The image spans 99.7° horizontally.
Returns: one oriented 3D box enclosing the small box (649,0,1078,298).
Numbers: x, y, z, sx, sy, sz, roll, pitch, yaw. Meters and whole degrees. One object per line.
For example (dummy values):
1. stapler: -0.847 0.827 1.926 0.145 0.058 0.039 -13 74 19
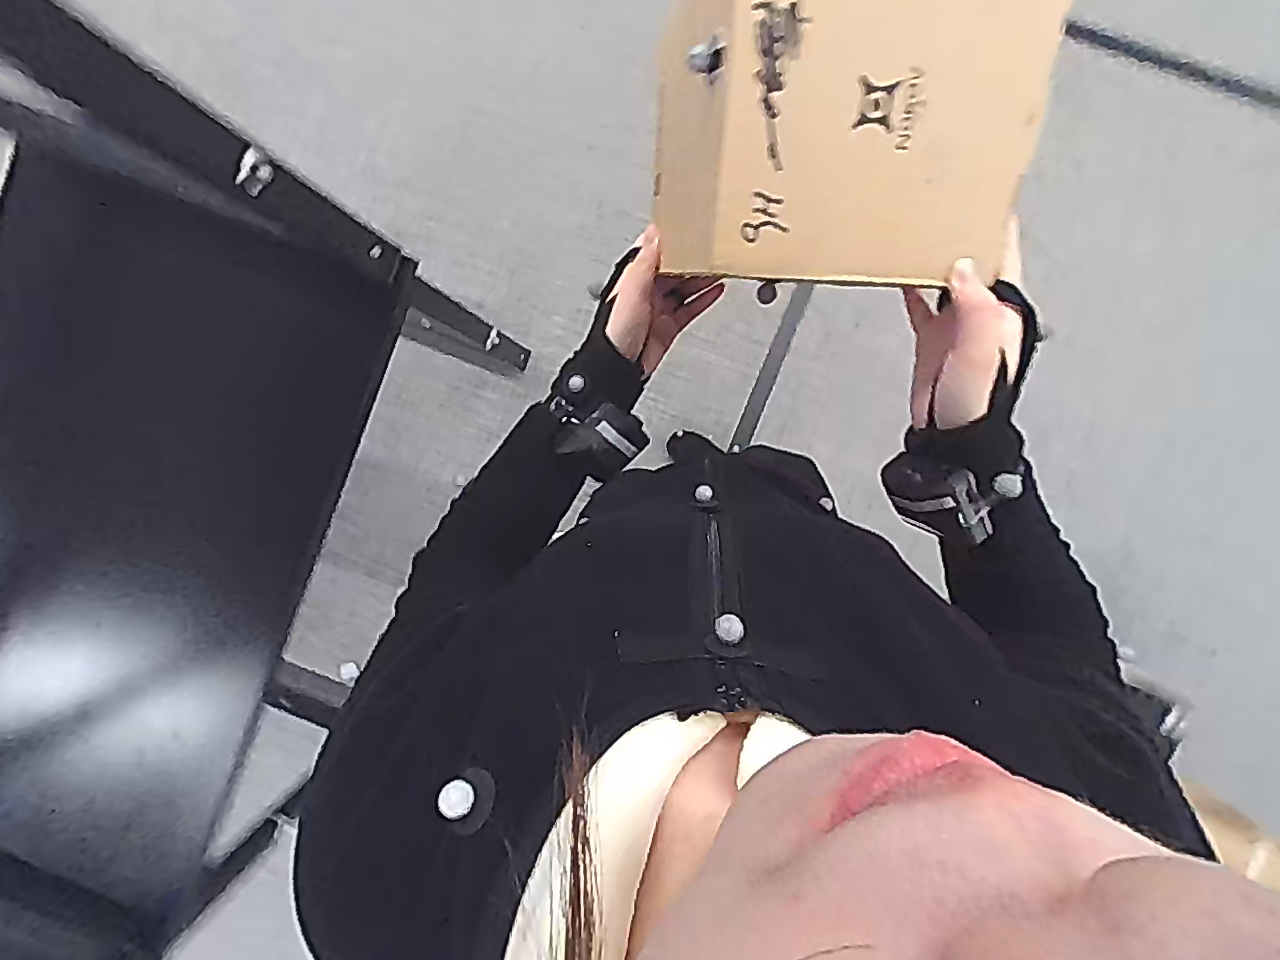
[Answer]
1. small box: 0.113 -0.210 0.344 0.179 0.176 0.168 0 109 -12
